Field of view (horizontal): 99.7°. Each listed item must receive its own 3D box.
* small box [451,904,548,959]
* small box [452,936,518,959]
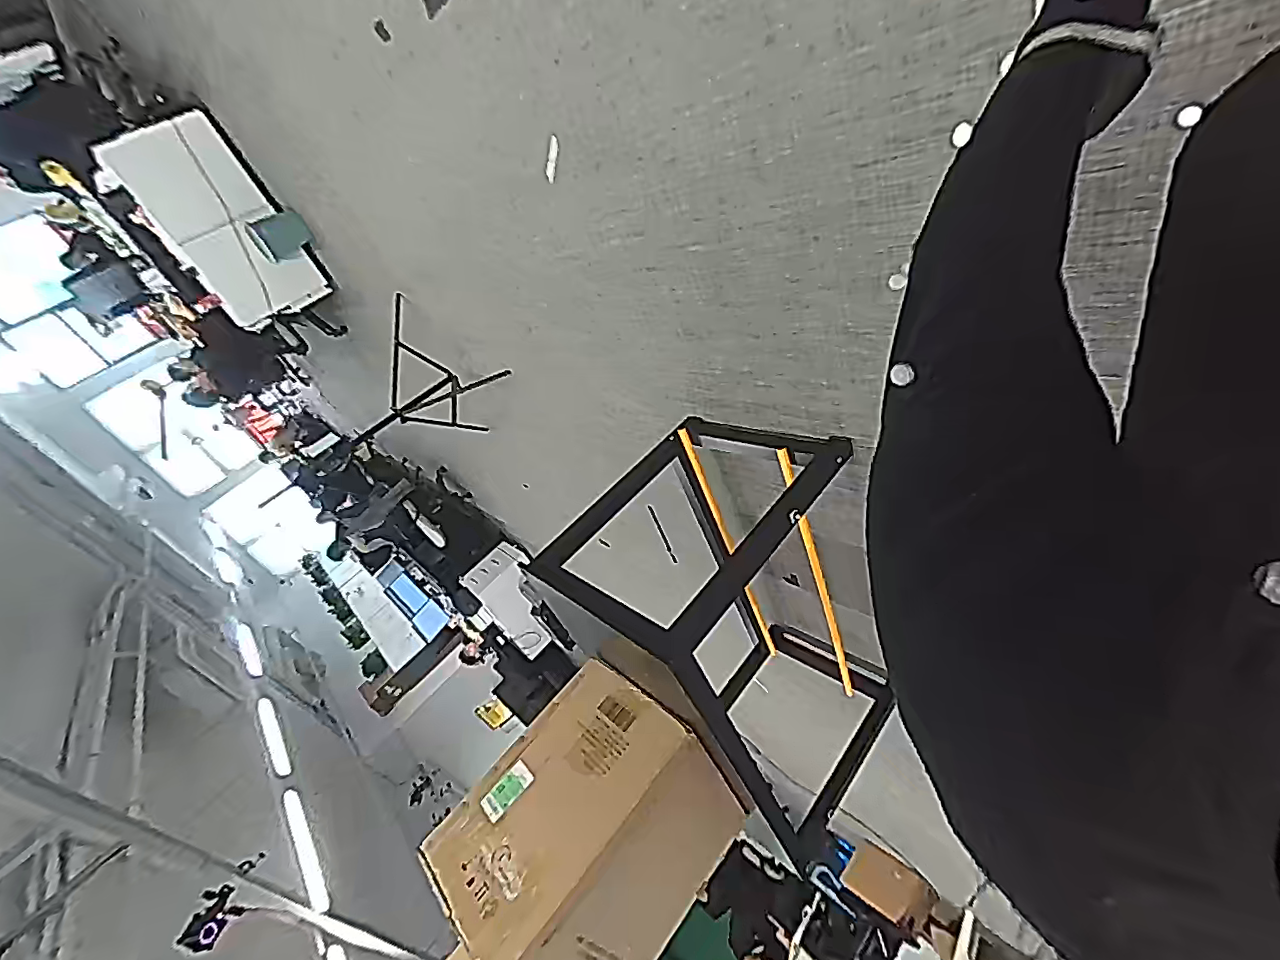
[{"bbox_3d":[-0.362,1.277,1.419,0.179,0.176,0.168,18,142,47],"label":"small box"},{"bbox_3d":[-0.340,1.137,1.171,0.179,0.176,0.168,19,146,44],"label":"small box"}]
